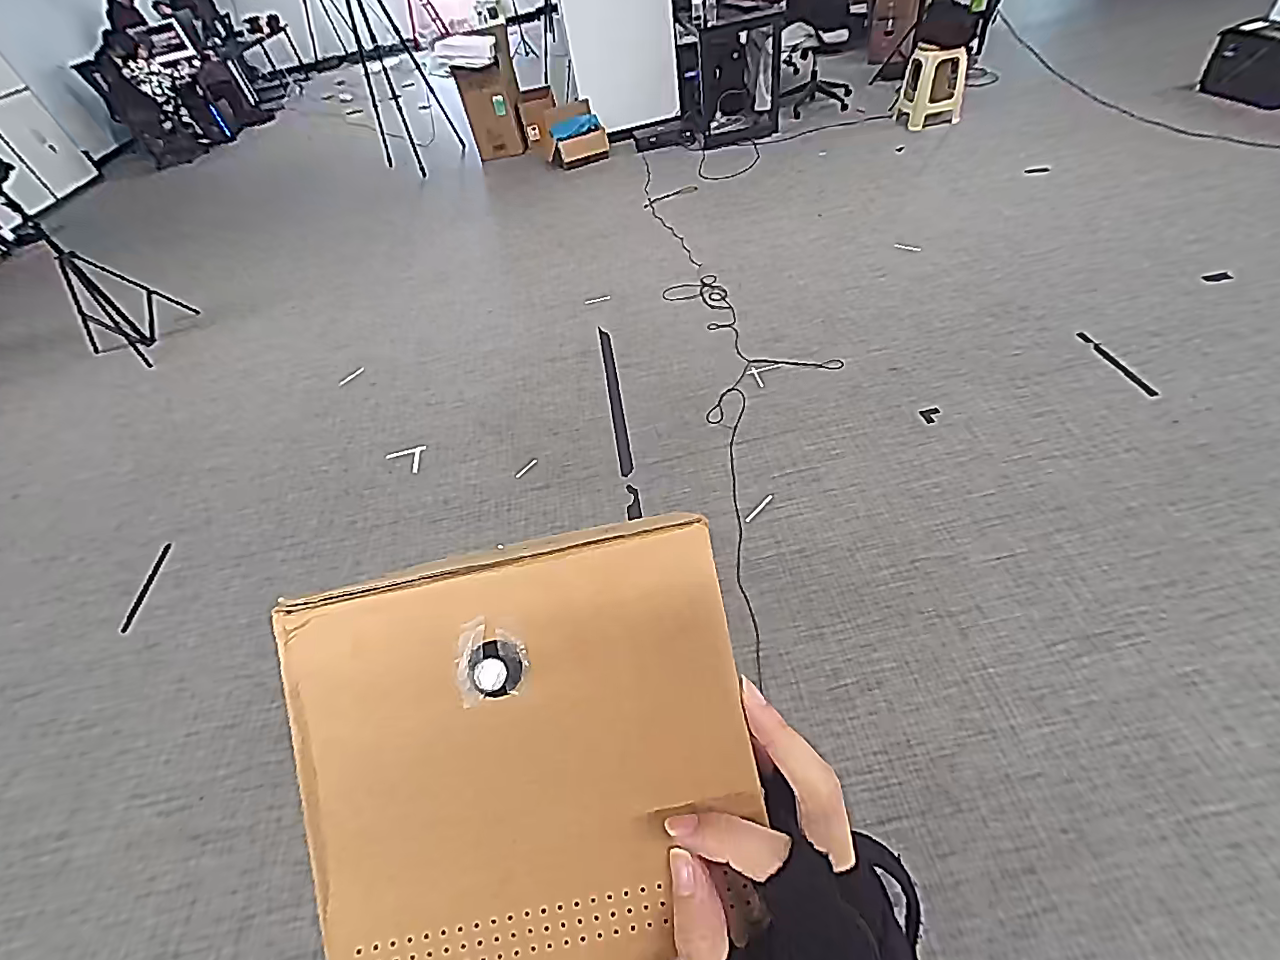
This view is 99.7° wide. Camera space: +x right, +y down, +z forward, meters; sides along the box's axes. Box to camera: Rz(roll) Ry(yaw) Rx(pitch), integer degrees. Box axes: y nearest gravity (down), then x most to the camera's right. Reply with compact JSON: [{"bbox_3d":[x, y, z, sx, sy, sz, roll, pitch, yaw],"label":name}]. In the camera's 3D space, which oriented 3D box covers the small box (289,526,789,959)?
[{"bbox_3d":[-0.040,0.125,0.288,0.179,0.168,0.176,-11,87,0],"label":"small box"}]
